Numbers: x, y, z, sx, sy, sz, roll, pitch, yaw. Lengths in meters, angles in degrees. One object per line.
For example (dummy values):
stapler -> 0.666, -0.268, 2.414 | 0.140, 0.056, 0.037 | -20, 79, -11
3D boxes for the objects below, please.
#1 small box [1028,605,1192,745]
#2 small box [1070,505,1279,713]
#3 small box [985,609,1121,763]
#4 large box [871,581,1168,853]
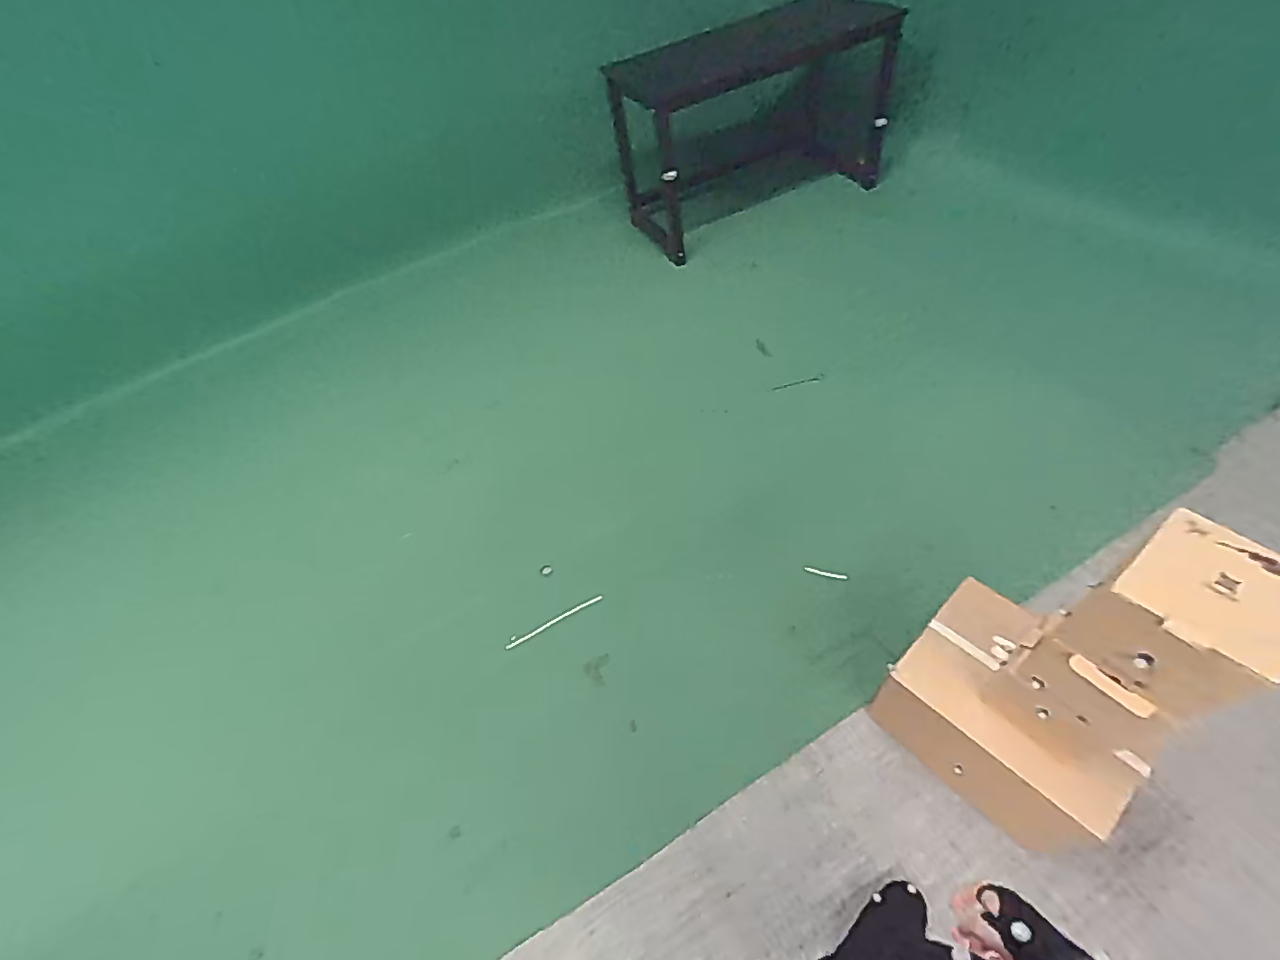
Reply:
small box -> 0.747, 0.277, 0.838 | 0.179, 0.176, 0.168 | -36, 54, -15
small box -> 0.718, 0.174, 0.712 | 0.179, 0.176, 0.168 | -38, 55, -14
small box -> 0.765, 0.372, 0.970 | 0.168, 0.176, 0.179 | -38, 55, -15
large box -> 0.787, 0.507, 1.175 | 0.320, 0.320, 0.408 | -39, 54, -19
